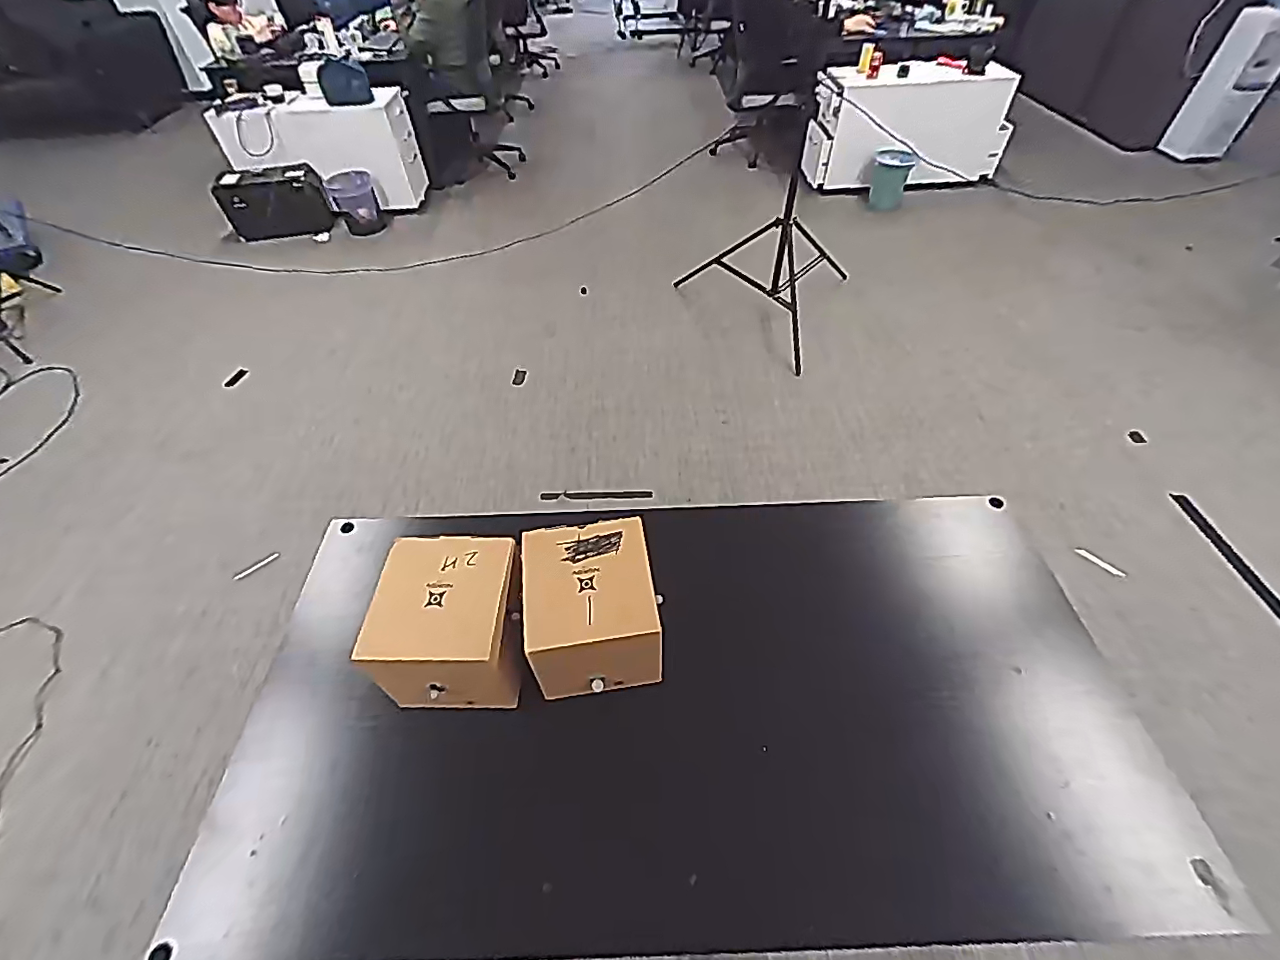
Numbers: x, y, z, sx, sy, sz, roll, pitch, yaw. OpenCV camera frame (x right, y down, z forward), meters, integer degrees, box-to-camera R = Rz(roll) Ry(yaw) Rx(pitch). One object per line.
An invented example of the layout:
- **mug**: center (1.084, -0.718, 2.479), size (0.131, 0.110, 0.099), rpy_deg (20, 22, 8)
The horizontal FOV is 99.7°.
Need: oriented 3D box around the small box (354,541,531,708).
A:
- **small box**: center (-0.253, 0.203, 0.747), size (0.168, 0.176, 0.179), rpy_deg (-1, 48, 1)
